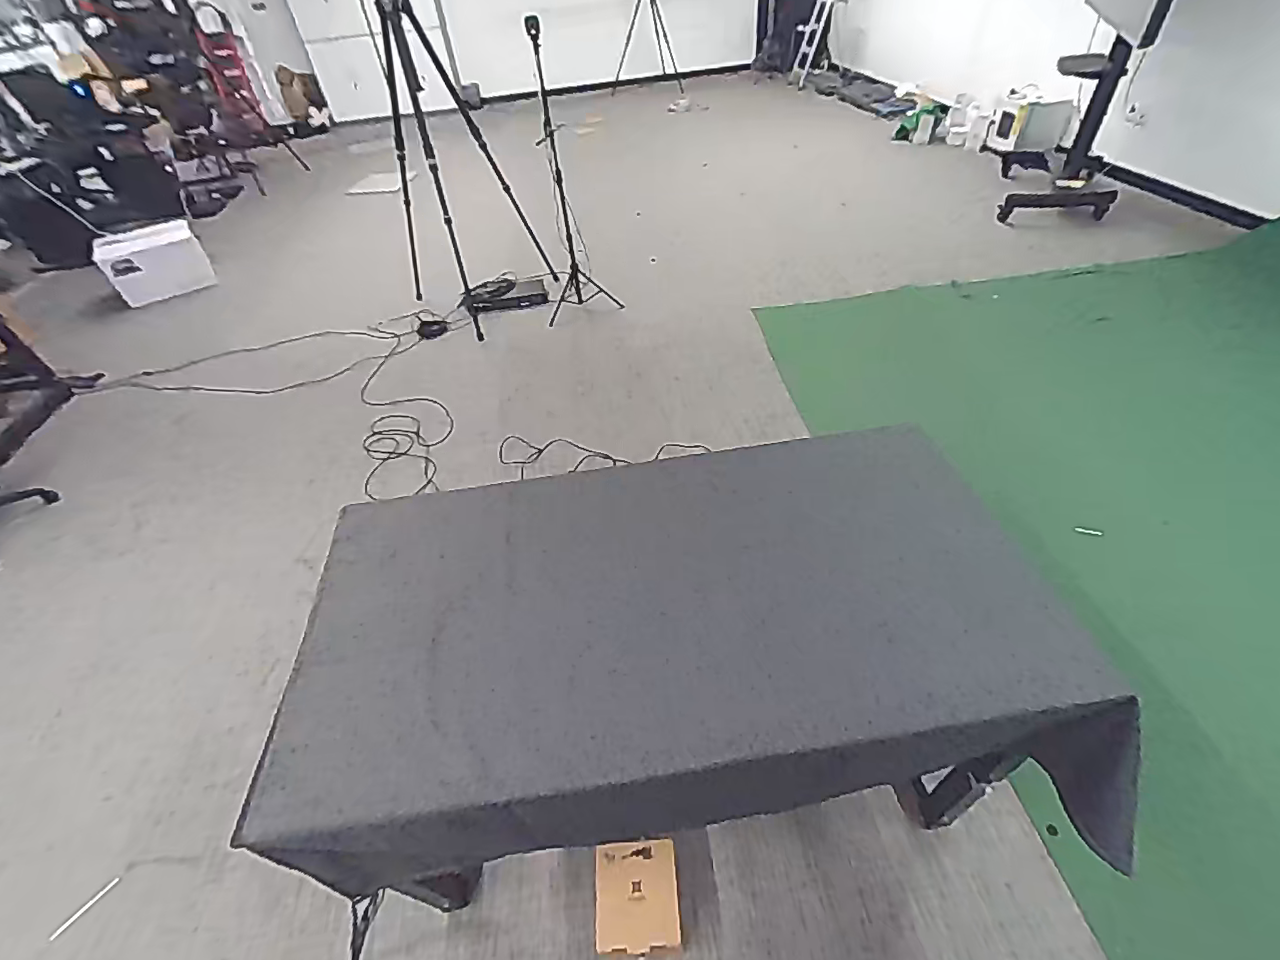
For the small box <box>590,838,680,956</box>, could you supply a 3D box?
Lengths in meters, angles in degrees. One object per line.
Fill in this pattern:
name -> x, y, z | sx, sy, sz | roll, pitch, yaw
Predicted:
small box -> -0.009, 0.870, 1.124 | 0.168, 0.176, 0.179 | -6, 45, 1
